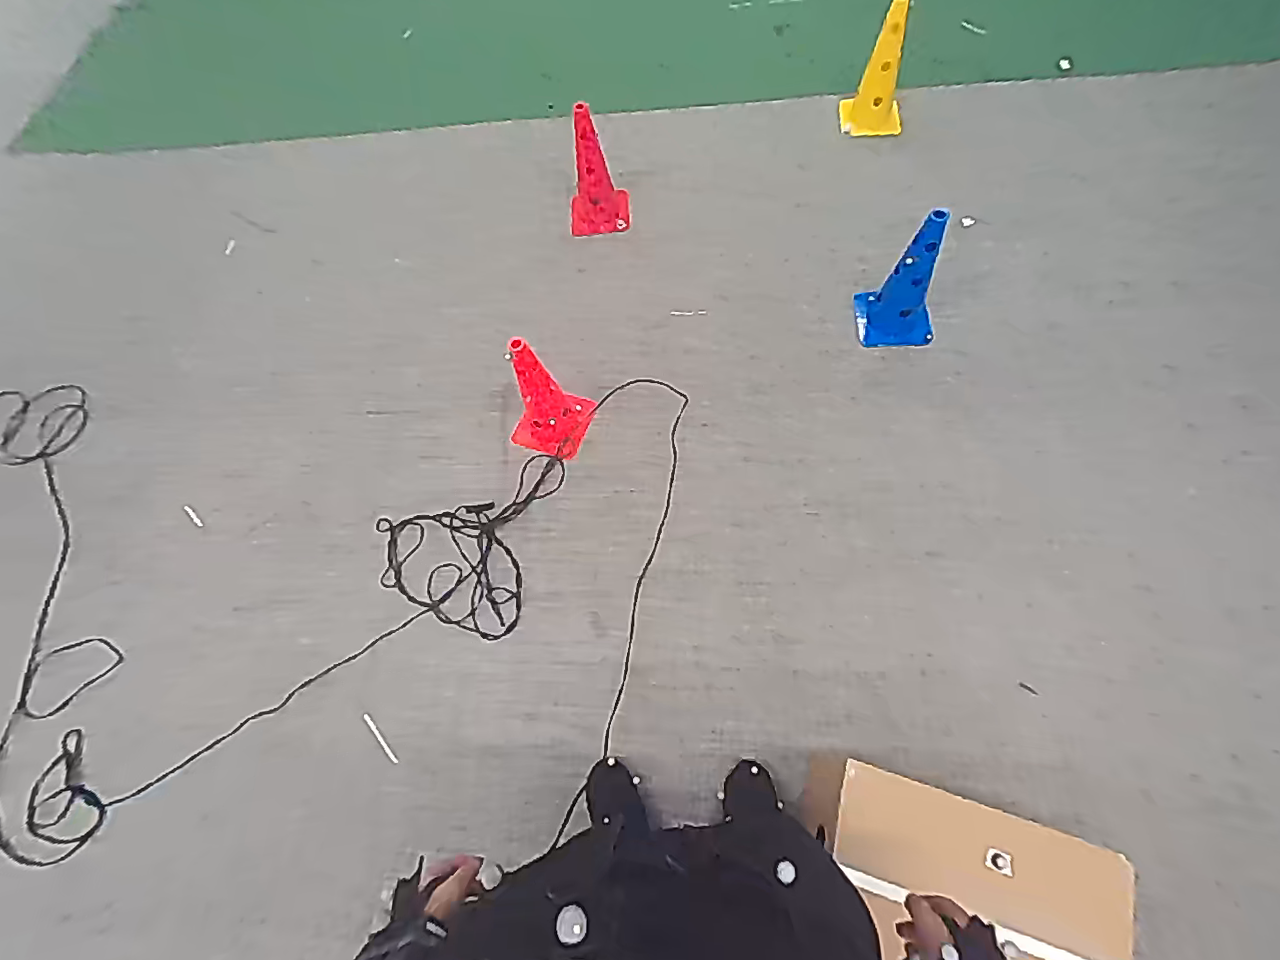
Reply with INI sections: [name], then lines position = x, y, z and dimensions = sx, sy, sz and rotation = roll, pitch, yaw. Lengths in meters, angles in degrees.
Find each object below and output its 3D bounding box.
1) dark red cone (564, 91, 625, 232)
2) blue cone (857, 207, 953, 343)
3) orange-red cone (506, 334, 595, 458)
[dark red cone]
position = -0.170, -1.004, 1.704
dimensions = 0.202, 0.394, 0.201
rotation = -7, 61, 4
[blue cone]
position = 0.714, -0.541, 1.415
dimensions = 0.192, 0.380, 0.193
rotation = 0, 65, 7
[orange-red cone]
position = -0.268, -0.239, 1.381
dimensions = 0.199, 0.360, 0.198
rotation = 18, 67, 16
